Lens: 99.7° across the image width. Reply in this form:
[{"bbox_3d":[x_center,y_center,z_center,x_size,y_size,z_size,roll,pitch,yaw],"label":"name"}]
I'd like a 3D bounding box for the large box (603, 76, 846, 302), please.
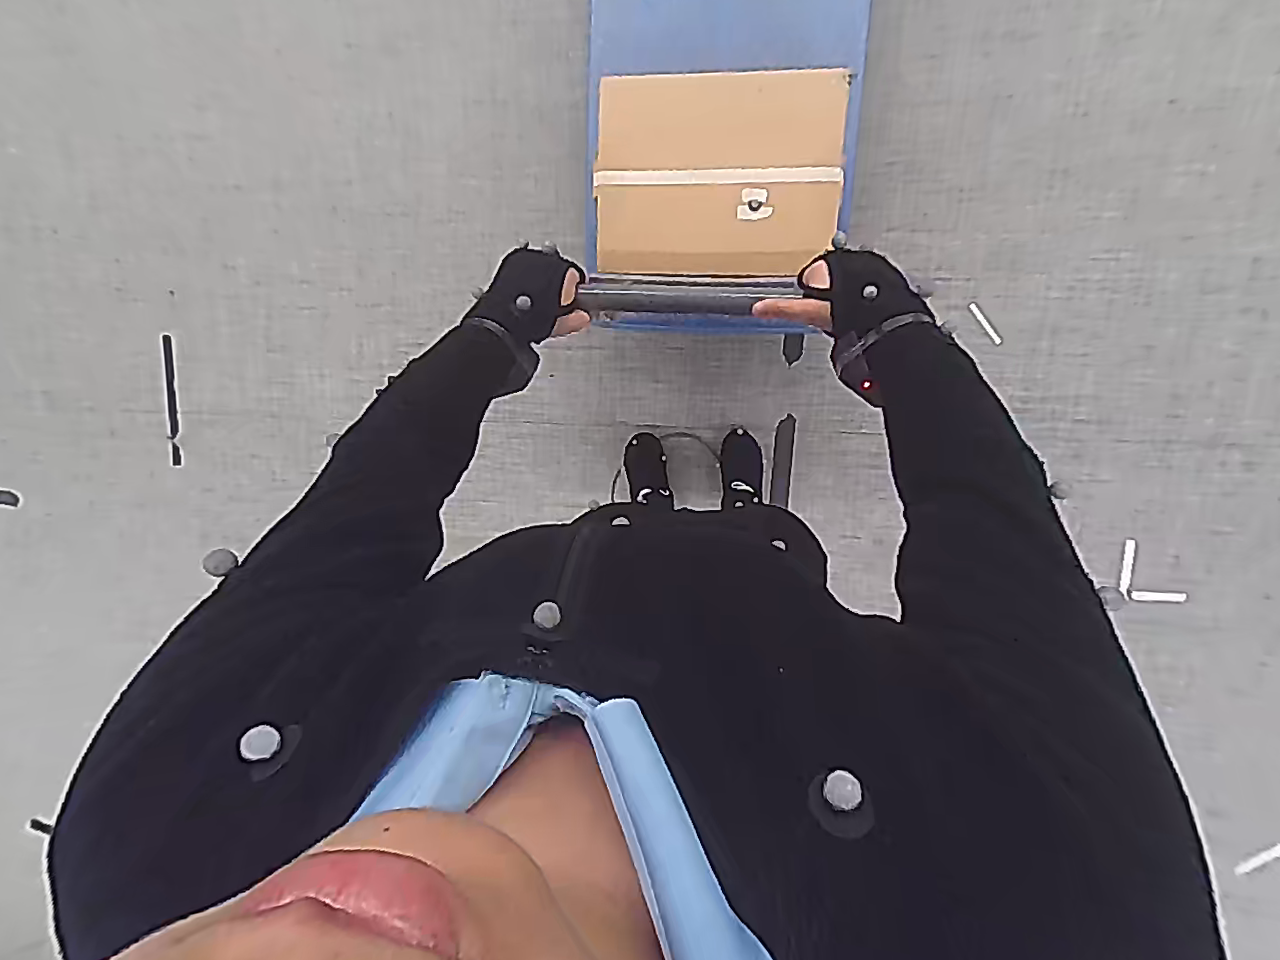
[{"bbox_3d":[0.150,-0.533,1.065,0.408,0.320,0.320,3,102,7],"label":"large box"}]
